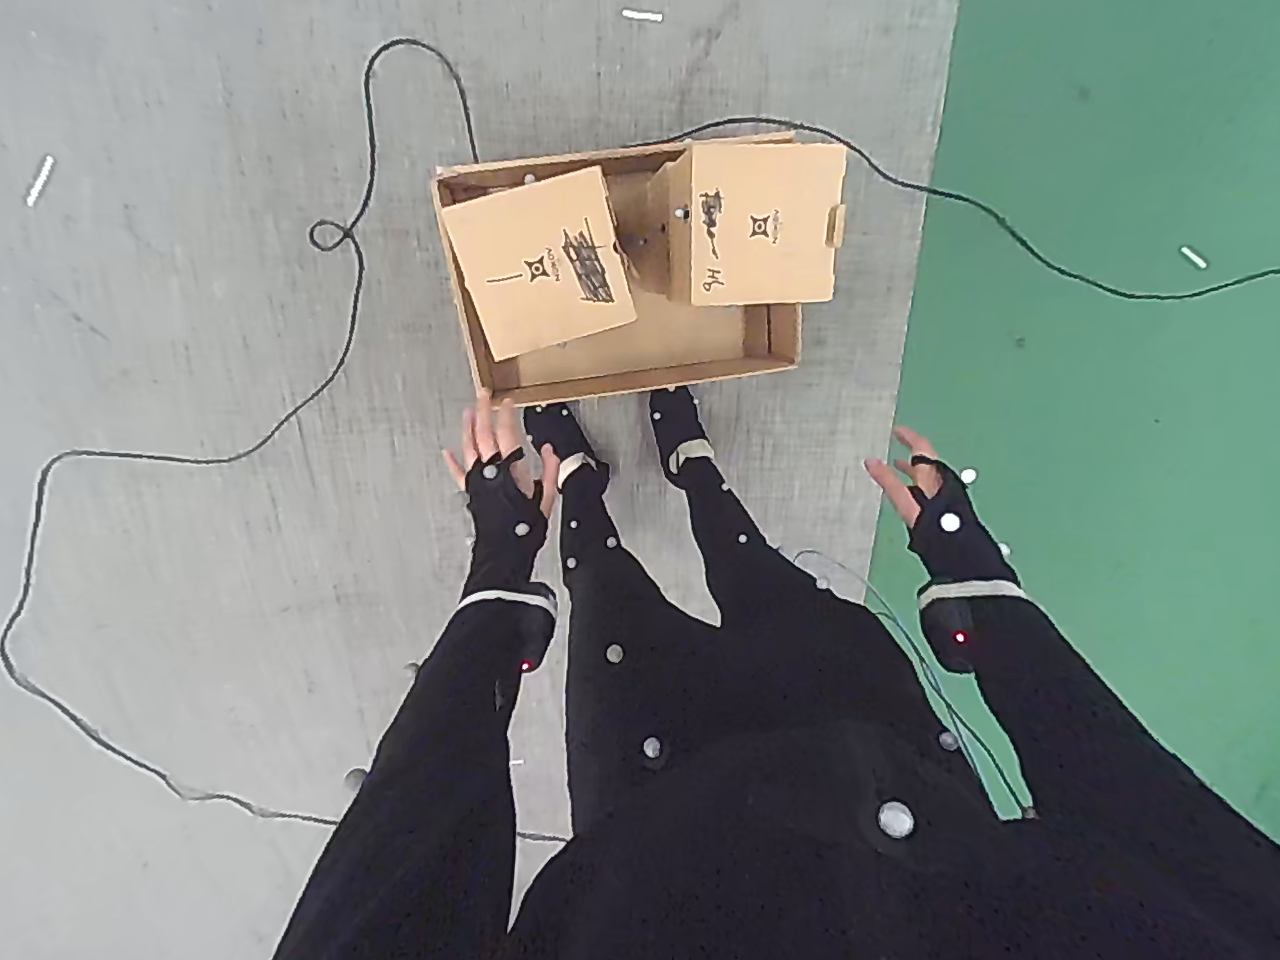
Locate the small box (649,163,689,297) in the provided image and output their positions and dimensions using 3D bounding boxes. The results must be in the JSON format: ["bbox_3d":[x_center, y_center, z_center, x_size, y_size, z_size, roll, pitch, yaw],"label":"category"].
[{"bbox_3d":[0.108,-0.375,0.831,0.168,0.176,0.179,-6,112,-5],"label":"small box"}]

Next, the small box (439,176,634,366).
[{"bbox_3d":[-0.121,-0.256,0.669,0.179,0.176,0.168,-17,113,-2],"label":"small box"}]

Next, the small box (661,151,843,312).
[{"bbox_3d":[0.127,-0.304,0.683,0.179,0.176,0.168,-4,111,-6],"label":"small box"}]
